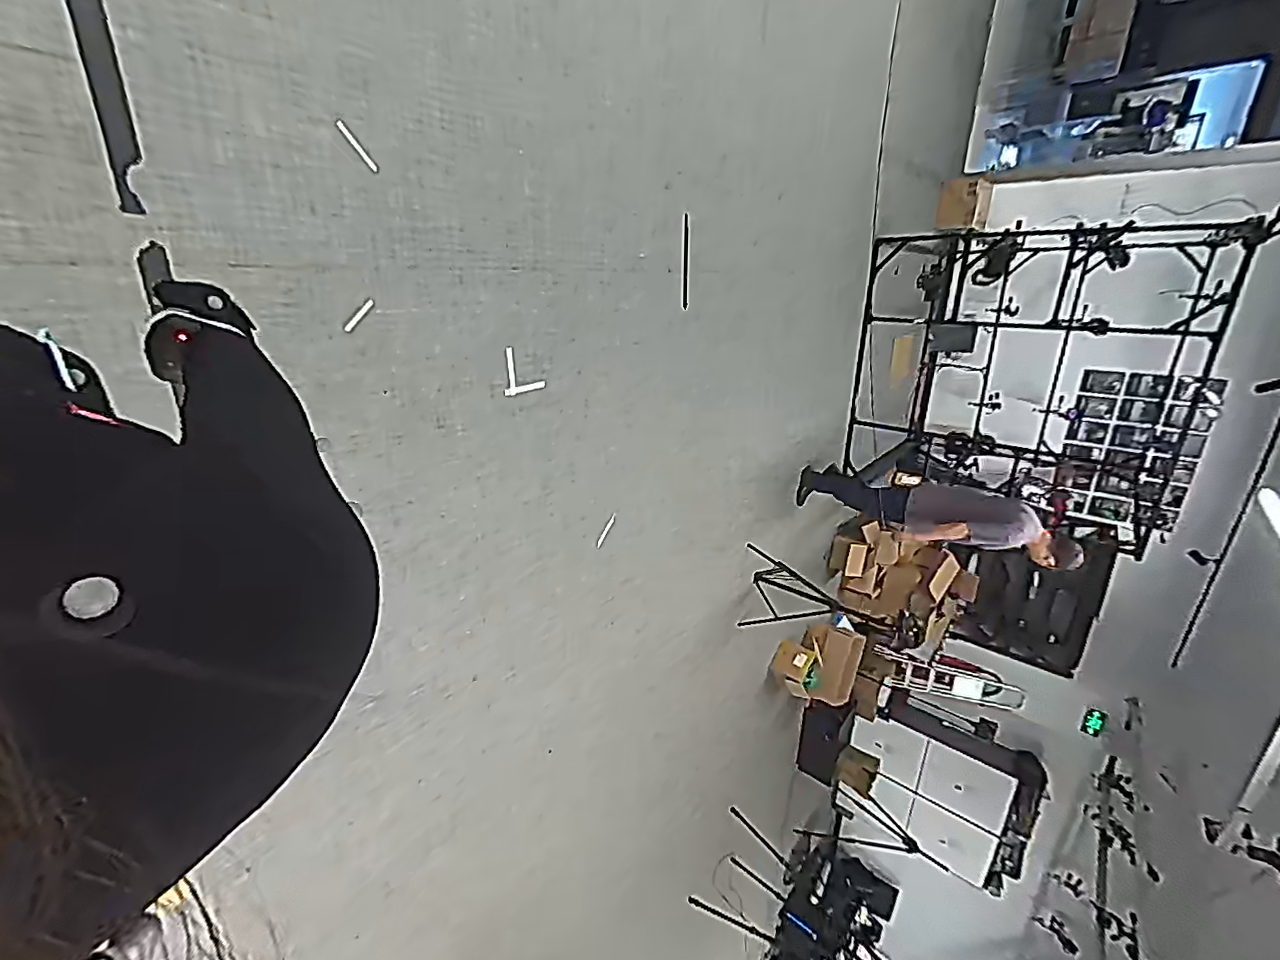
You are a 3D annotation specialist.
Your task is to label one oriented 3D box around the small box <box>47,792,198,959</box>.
[{"bbox_3d":[-1.022,0.773,1.067,0.179,0.176,0.168,-23,121,-46],"label":"small box"}]
